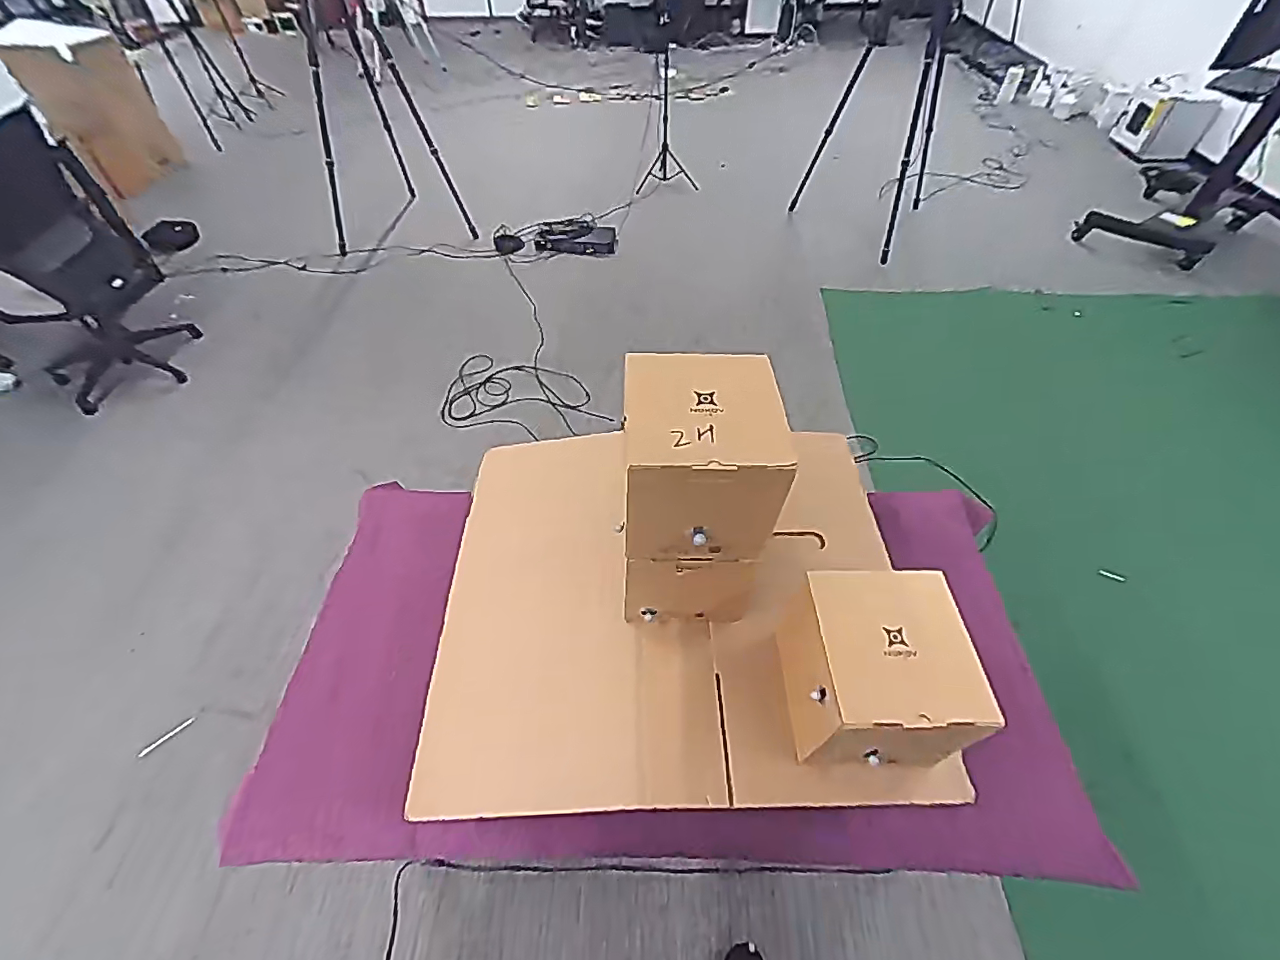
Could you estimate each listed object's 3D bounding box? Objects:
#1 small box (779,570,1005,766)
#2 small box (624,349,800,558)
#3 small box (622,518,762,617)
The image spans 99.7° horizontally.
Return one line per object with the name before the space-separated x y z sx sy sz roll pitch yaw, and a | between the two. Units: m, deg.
small box | 0.274 0.224 0.642 0.168 0.176 0.179 0 51 -2
small box | 0.067 -0.029 0.624 0.168 0.176 0.179 0 51 -2
small box | 0.061 0.078 0.749 0.168 0.176 0.179 1 50 -3
